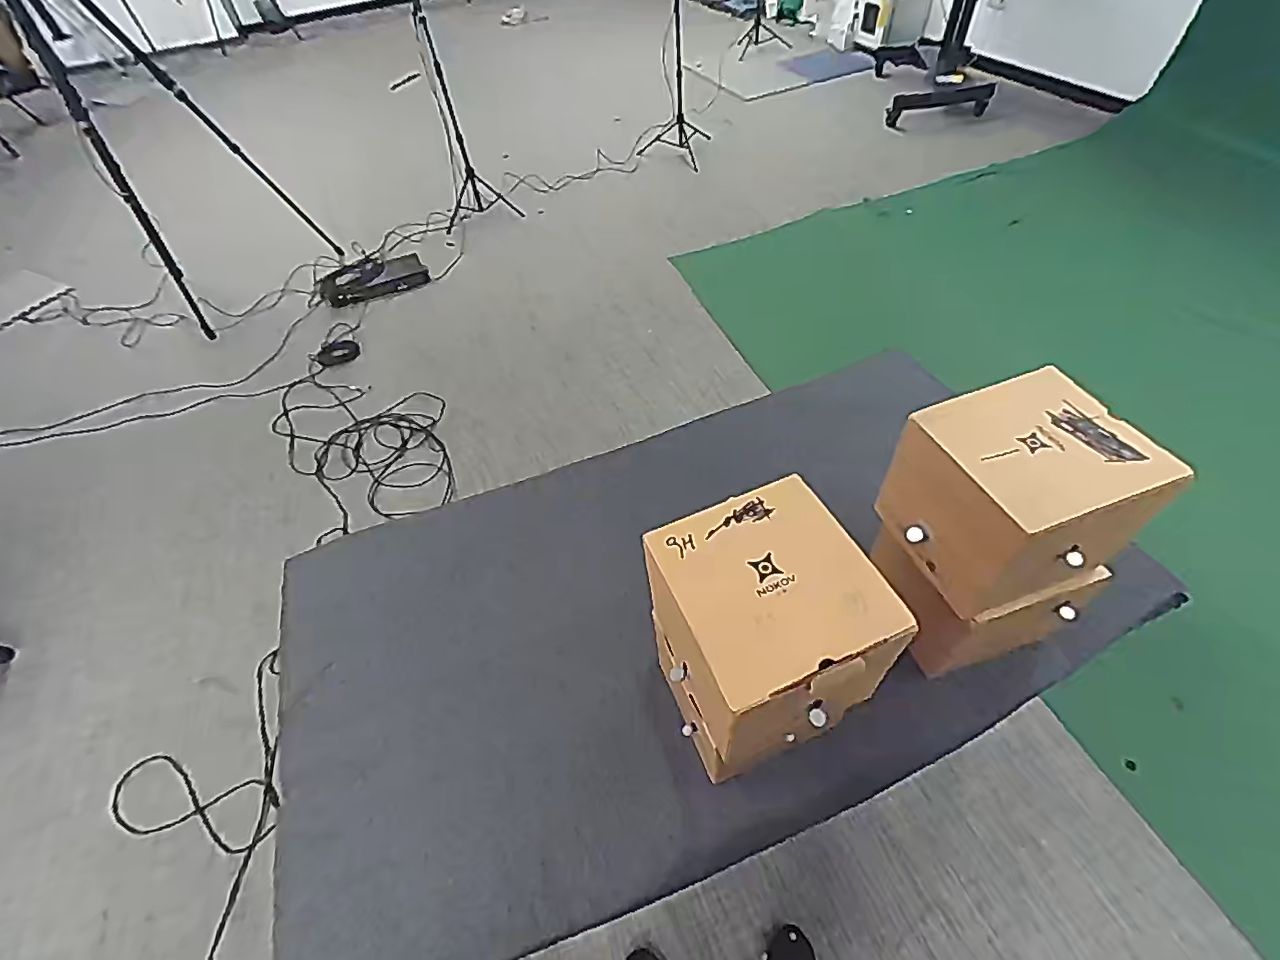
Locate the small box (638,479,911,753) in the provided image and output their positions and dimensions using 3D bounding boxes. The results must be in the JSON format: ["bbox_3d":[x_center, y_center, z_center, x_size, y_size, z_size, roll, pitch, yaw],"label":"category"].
[{"bbox_3d":[0.111,0.136,0.512,0.168,0.176,0.179,-21,52,-10],"label":"small box"}]

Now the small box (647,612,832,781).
[{"bbox_3d":[0.123,0.231,0.647,0.179,0.176,0.168,-20,52,-12],"label":"small box"}]

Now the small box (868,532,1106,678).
[{"bbox_3d":[0.417,0.128,0.694,0.179,0.176,0.168,-17,50,-7],"label":"small box"}]

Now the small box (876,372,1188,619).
[{"bbox_3d":[0.385,0.019,0.574,0.179,0.176,0.168,-18,50,-7],"label":"small box"}]
